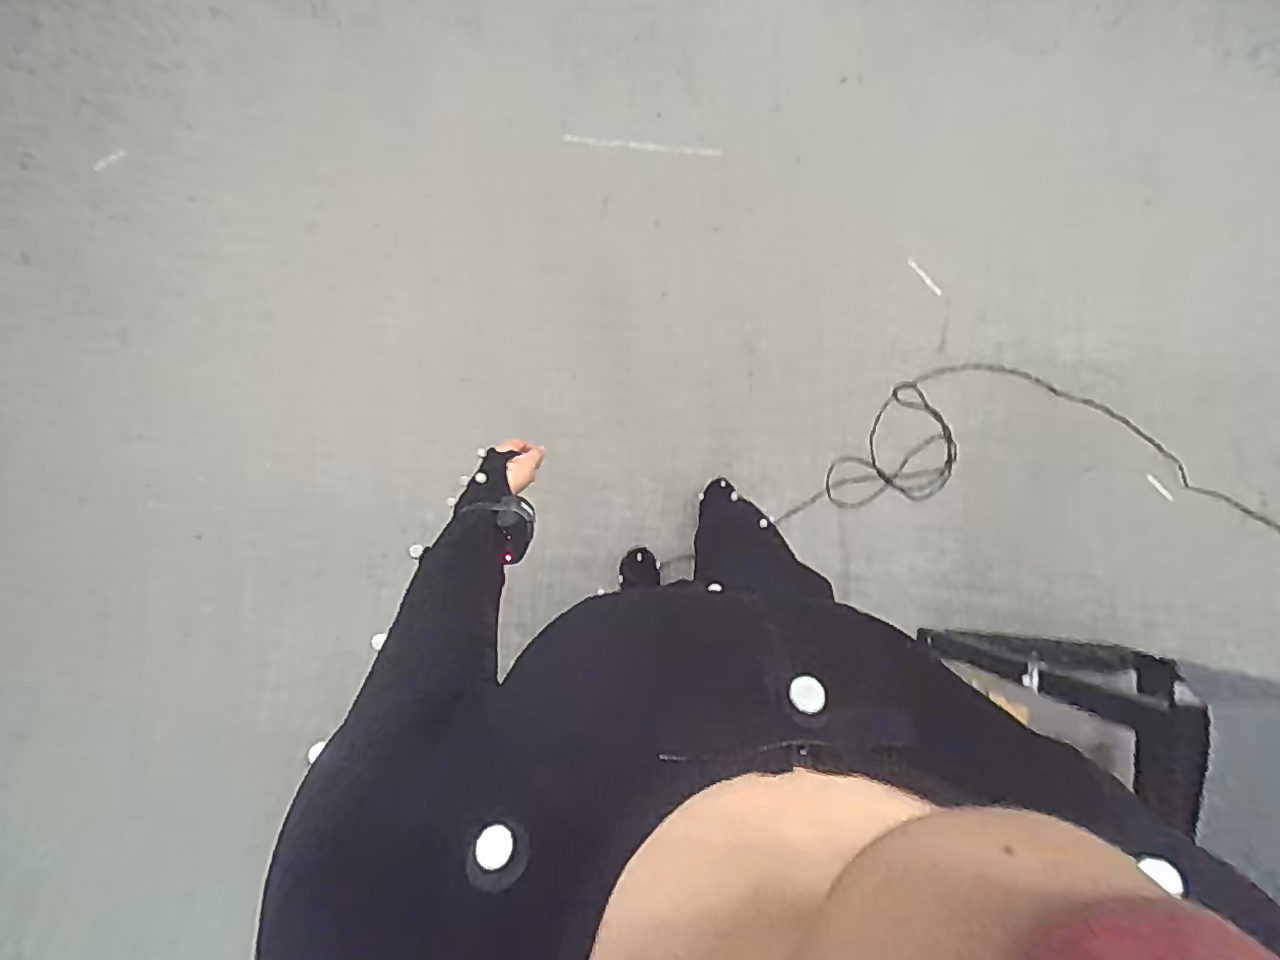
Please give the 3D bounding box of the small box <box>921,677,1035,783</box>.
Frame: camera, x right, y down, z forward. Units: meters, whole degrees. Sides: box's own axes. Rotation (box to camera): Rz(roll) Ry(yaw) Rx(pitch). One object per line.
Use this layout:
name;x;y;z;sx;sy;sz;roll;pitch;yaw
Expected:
small box;0.843;0.618;1.364;0.168;0.176;0.179;18;84;2
